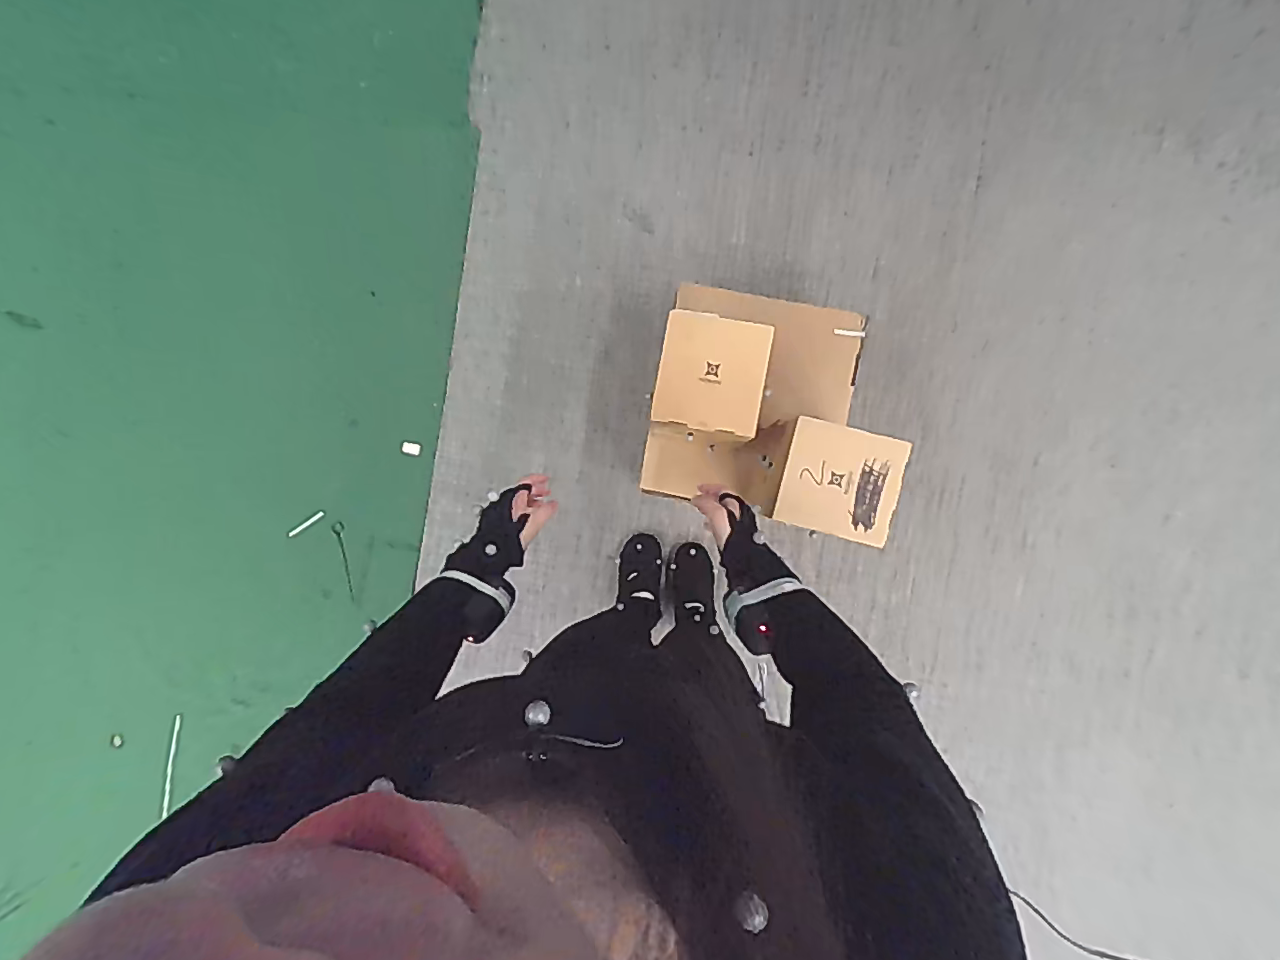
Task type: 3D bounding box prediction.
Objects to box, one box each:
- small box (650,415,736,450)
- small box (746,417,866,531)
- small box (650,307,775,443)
[{"bbox_3d":[0.122,-0.161,1.071,0.168,0.176,0.179,12,89,4],"label":"small box"},{"bbox_3d":[0.313,-0.009,1.054,0.168,0.176,0.179,14,89,3],"label":"small box"},{"bbox_3d":[0.115,-0.166,0.908,0.168,0.176,0.179,11,90,4],"label":"small box"}]
